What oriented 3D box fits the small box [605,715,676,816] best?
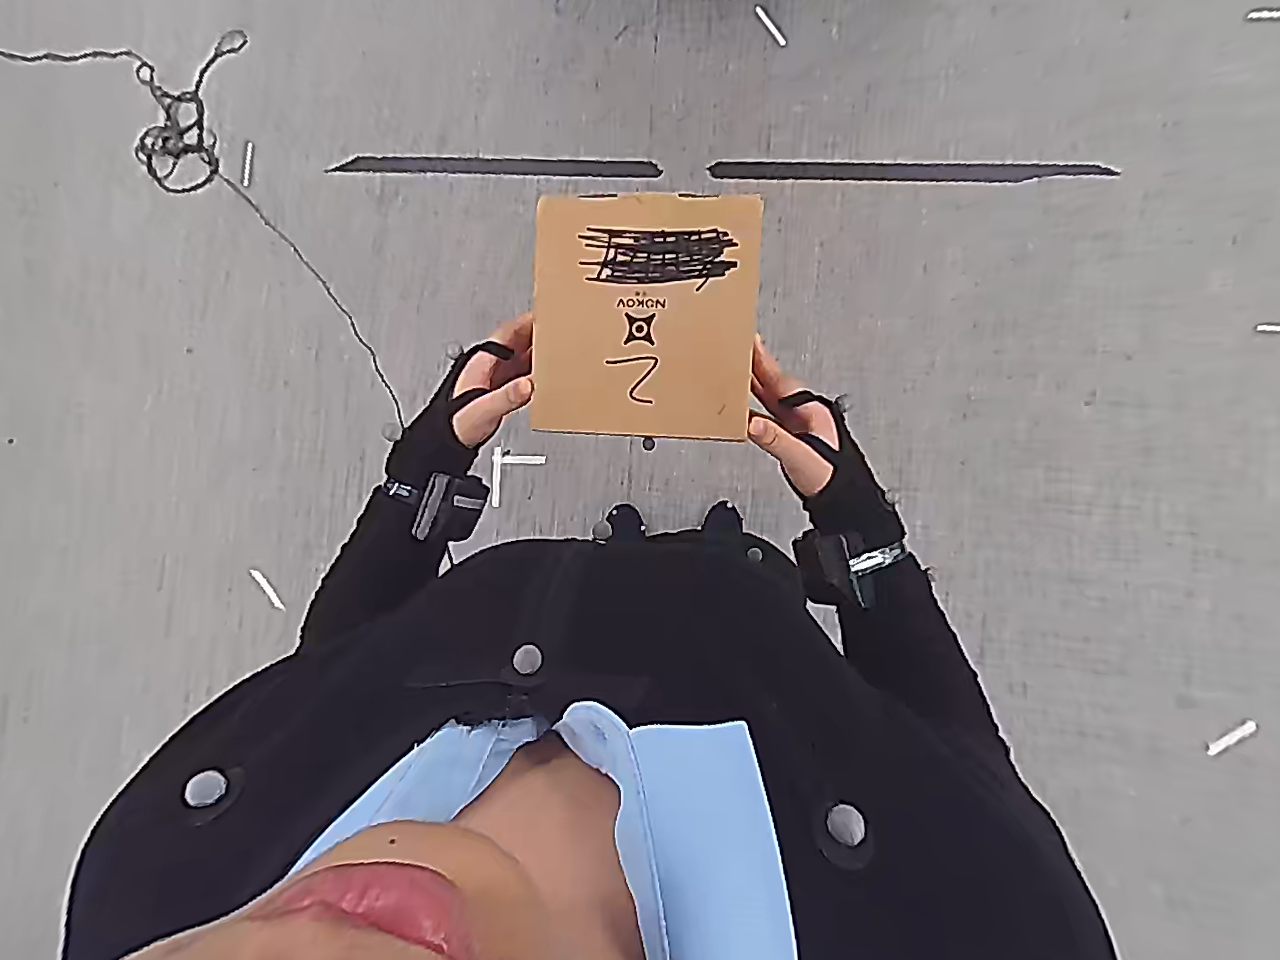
[{"bbox_3d":[0.006,0.728,1.394,0.168,0.176,0.179,-2,87,6],"label":"small box"}]
